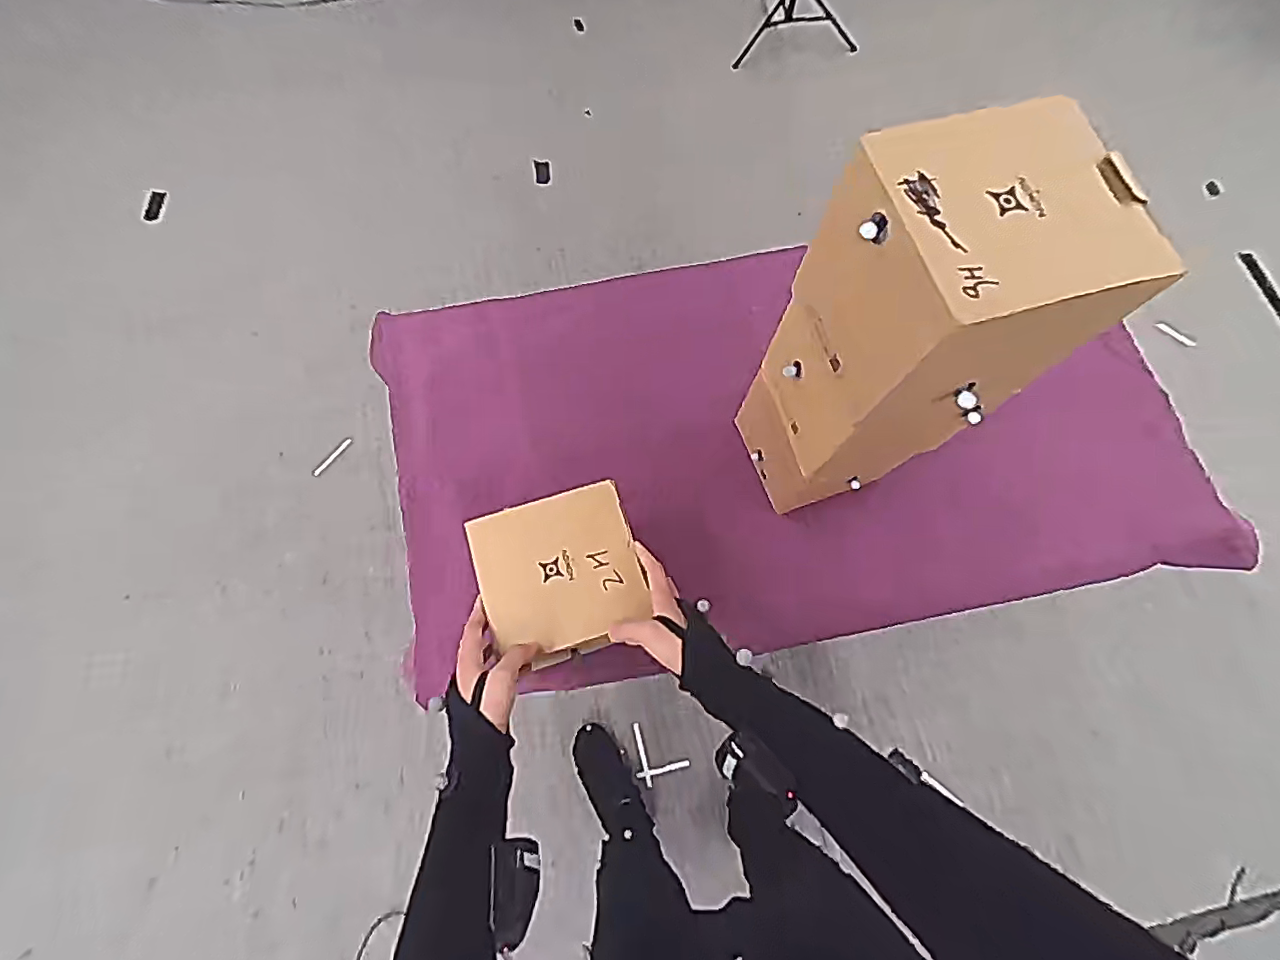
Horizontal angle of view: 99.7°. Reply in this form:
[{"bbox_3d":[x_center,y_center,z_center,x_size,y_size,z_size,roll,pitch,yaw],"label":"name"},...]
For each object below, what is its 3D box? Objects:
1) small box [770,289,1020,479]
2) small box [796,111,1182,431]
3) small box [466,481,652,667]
[{"bbox_3d":[0.261,-0.113,0.608,0.179,0.176,0.168,-14,73,-7],"label":"small box"},{"bbox_3d":[0.259,-0.160,0.451,0.179,0.176,0.168,-14,72,-7],"label":"small box"},{"bbox_3d":[-0.093,0.124,0.664,0.179,0.176,0.168,-15,71,-8],"label":"small box"}]
